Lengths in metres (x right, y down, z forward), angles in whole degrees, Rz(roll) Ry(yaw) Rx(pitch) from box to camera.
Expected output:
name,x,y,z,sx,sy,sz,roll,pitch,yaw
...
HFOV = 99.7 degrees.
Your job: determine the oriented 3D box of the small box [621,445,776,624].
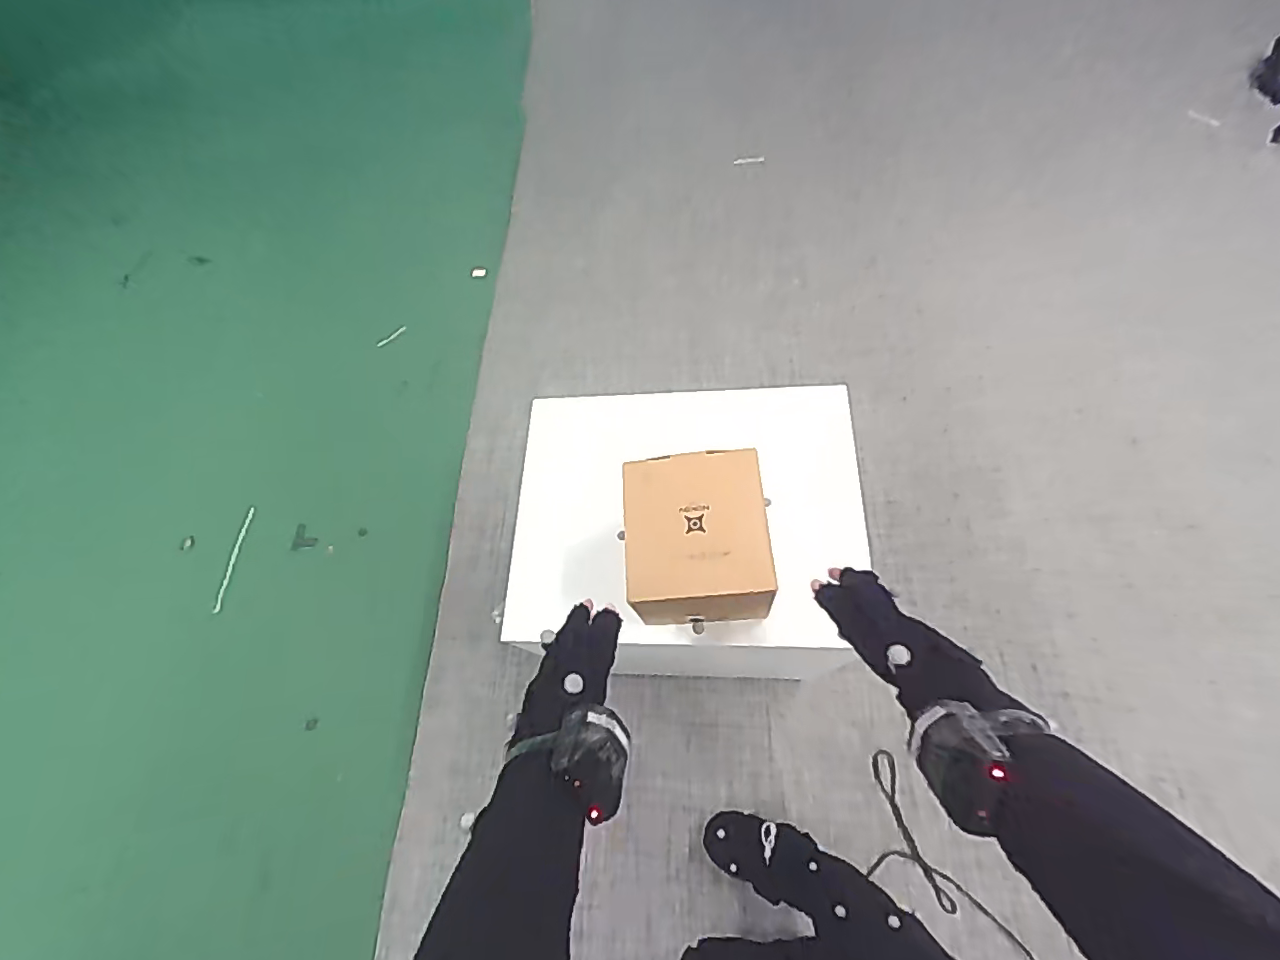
name,x,y,z,sx,sy,sz,roll,pitch,yaw
small box,0.073,0.077,0.684,0.168,0.176,0.179,-7,66,8
